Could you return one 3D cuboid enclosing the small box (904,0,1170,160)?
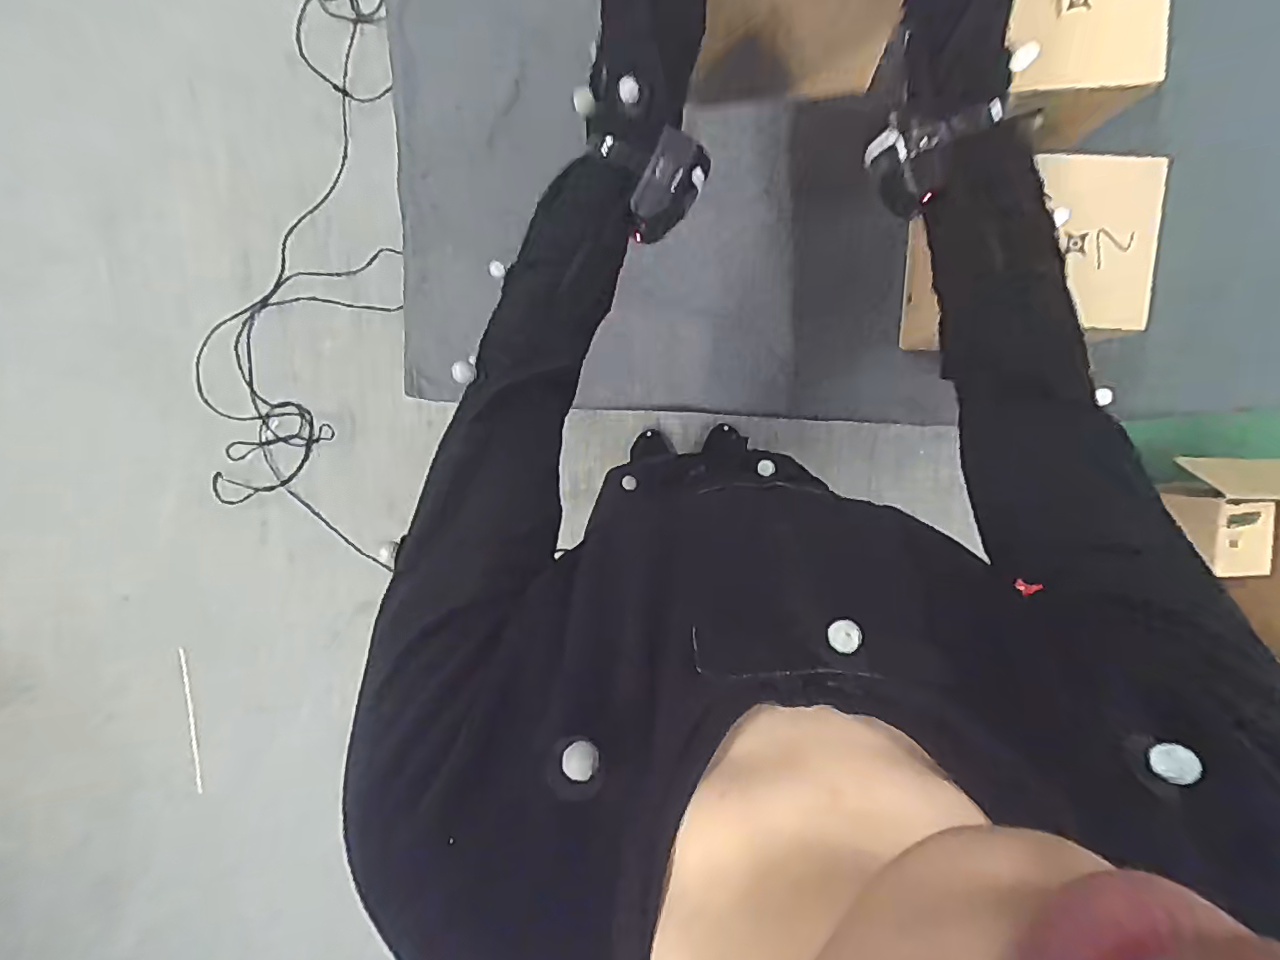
[{"bbox_3d":[0.411,-0.473,0.584,0.179,0.176,0.168,-2,97,5],"label":"small box"}]
